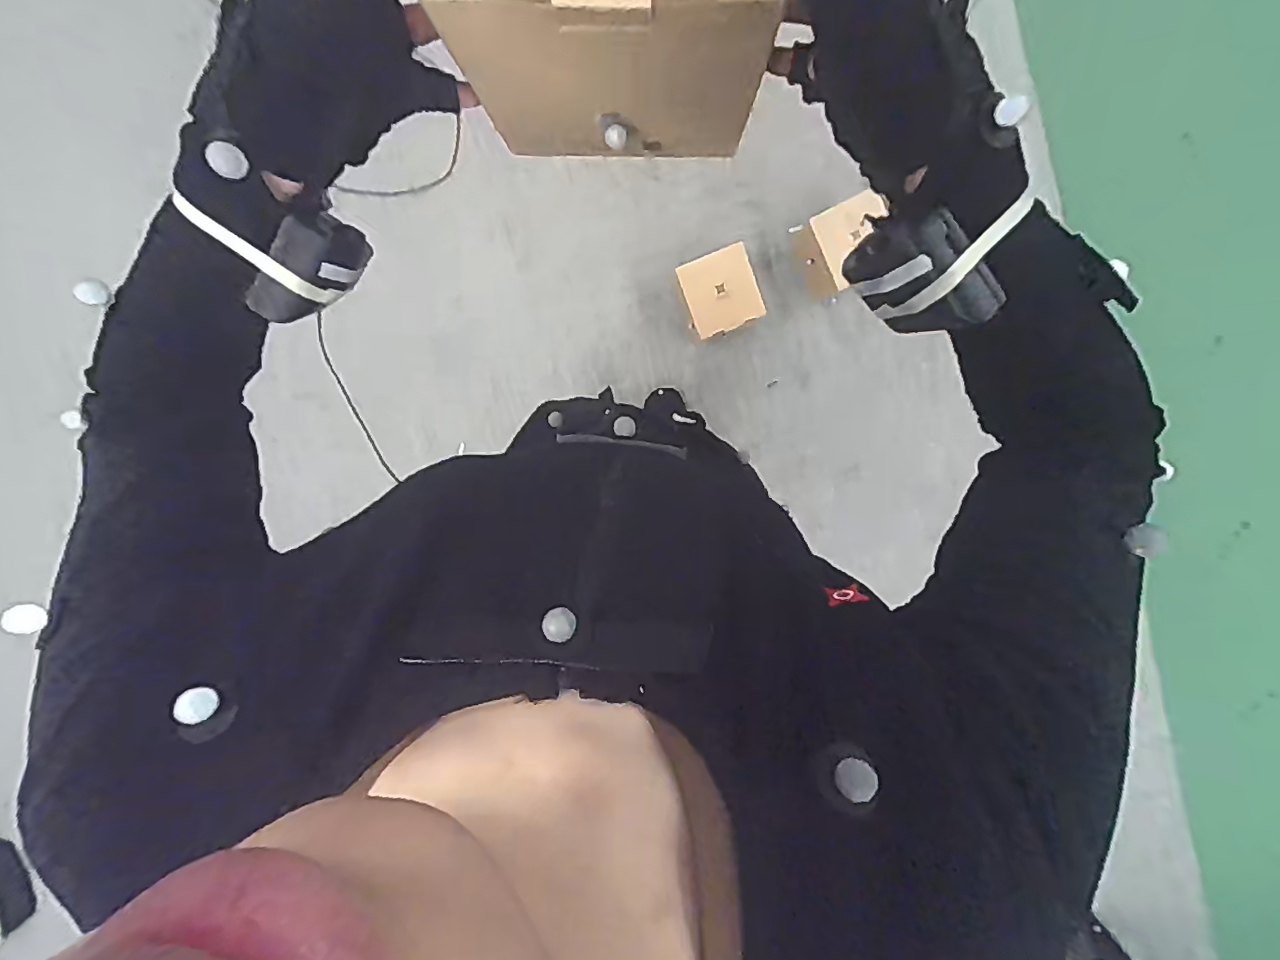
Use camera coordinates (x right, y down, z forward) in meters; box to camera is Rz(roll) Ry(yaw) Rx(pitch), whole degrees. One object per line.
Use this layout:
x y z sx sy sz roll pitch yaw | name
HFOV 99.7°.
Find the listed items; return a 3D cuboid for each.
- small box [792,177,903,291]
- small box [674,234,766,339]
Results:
0.483 -0.568 1.282 0.168 0.176 0.179 -26 96 5 | small box
0.186 -0.459 1.312 0.168 0.176 0.179 -21 98 6 | small box
